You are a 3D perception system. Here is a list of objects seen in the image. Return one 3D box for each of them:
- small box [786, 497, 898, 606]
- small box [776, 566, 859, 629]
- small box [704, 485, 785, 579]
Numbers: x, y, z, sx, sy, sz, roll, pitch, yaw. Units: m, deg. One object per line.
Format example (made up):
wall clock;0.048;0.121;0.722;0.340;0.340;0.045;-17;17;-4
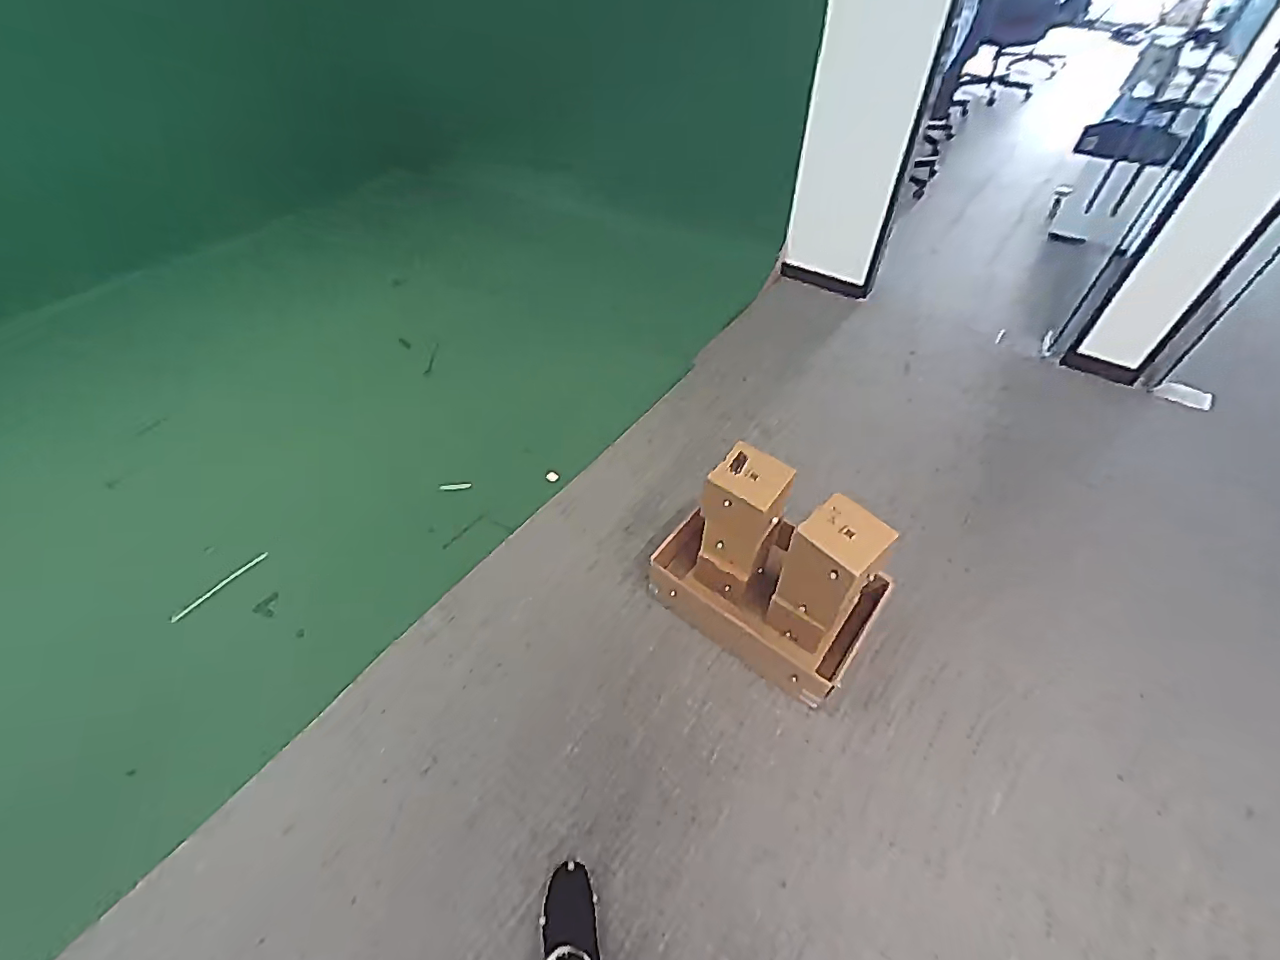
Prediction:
small box;0.482;0.181;1.313;0.168;0.176;0.179;-34;56;-23
small box;0.490;0.274;1.450;0.179;0.176;0.168;33;59;27
small box;0.297;0.153;1.567;0.168;0.176;0.179;30;57;22
